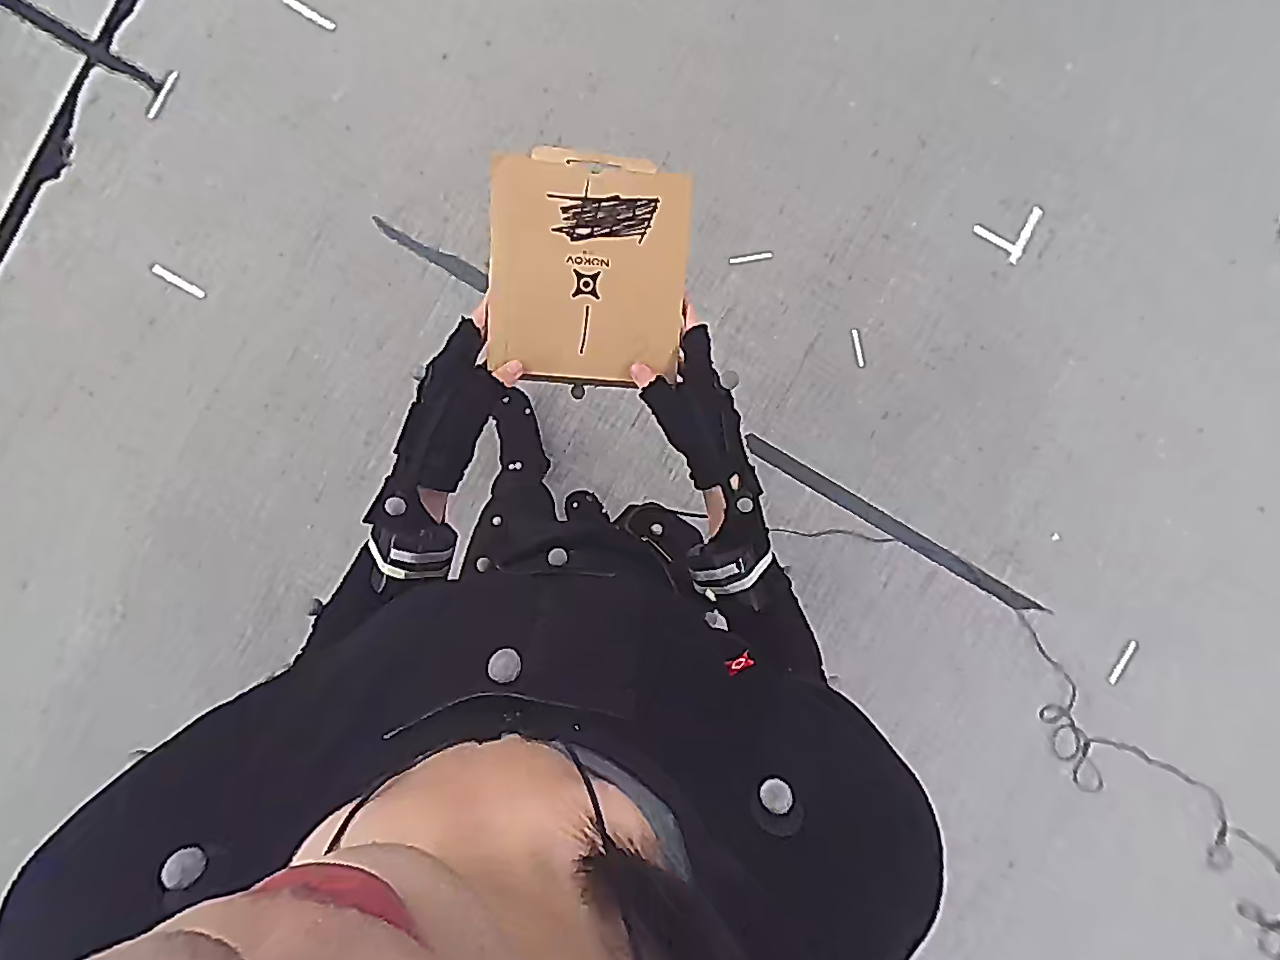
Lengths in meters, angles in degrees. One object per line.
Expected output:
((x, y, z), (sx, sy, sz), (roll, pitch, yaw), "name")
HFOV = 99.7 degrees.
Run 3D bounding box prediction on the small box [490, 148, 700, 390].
((-0.046, -0.185, 0.530), (0.168, 0.176, 0.179), (4, 98, -6), "small box")
